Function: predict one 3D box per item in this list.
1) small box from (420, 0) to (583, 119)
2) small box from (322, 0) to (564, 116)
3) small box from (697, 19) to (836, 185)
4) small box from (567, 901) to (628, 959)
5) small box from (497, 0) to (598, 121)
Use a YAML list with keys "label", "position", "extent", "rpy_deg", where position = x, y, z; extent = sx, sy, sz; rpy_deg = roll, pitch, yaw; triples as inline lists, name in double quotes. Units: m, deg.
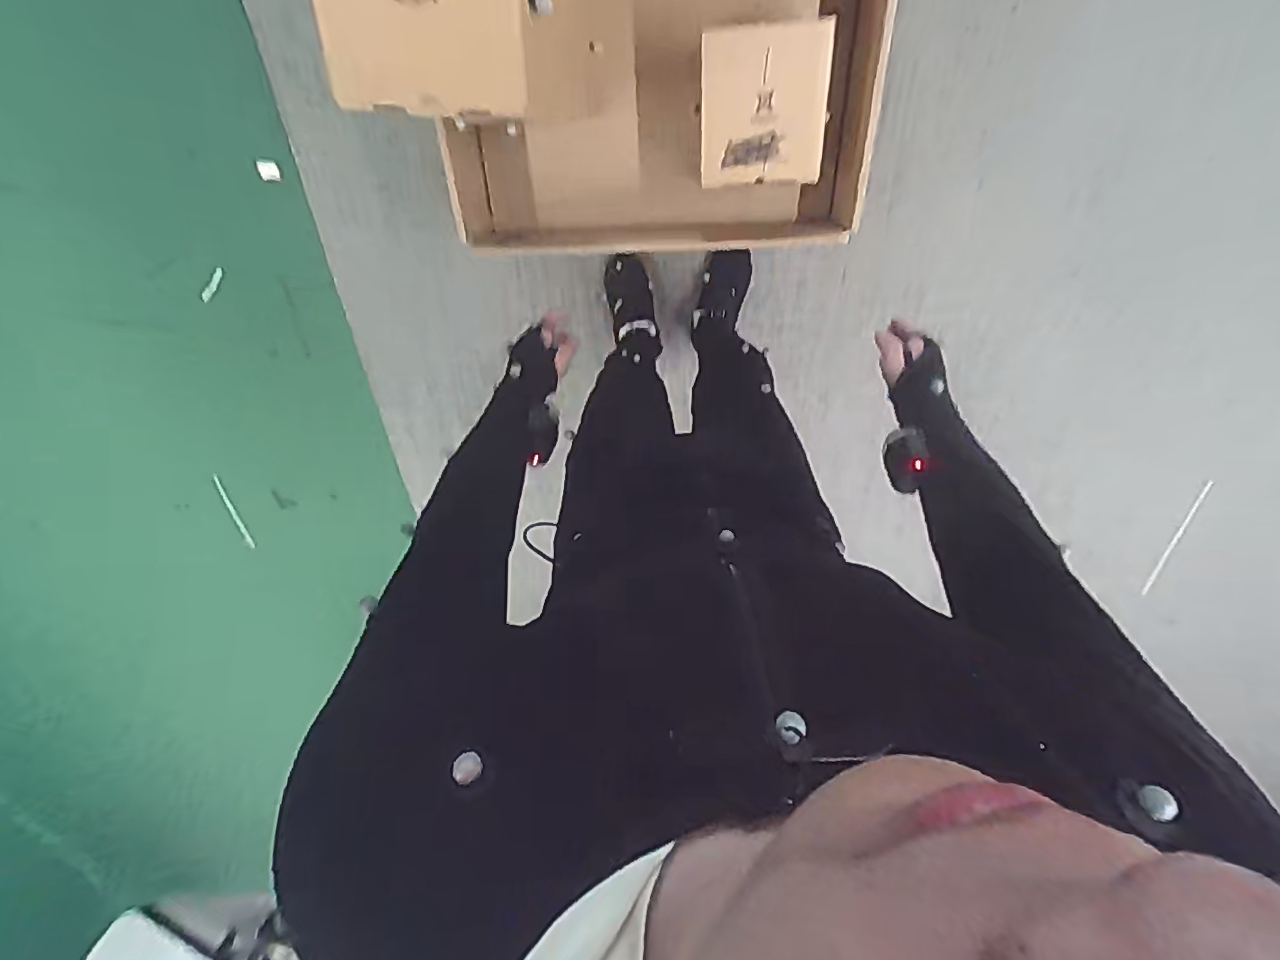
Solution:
- label: "small box"
  position: [-0.159, -0.522, 0.616]
  extent: [0.168, 0.176, 0.179]
  rpy_deg: [3, 123, 2]
- label: "small box"
  position: [-0.163, -0.435, 0.479]
  extent: [0.168, 0.176, 0.179]
  rpy_deg: [4, 124, 1]
- label: "small box"
  position: [0.169, -0.534, 0.780]
  extent: [0.168, 0.176, 0.179]
  rpy_deg: [-1, 122, 4]
- label: "small box"
  position: [-0.131, 1.495, 1.742]
  extent: [0.168, 0.176, 0.179]
  rpy_deg: [-4, 121, 4]
- label: "small box"
  position: [-0.151, -0.610, 0.754]
  extent: [0.168, 0.176, 0.179]
  rpy_deg: [1, 123, 3]
